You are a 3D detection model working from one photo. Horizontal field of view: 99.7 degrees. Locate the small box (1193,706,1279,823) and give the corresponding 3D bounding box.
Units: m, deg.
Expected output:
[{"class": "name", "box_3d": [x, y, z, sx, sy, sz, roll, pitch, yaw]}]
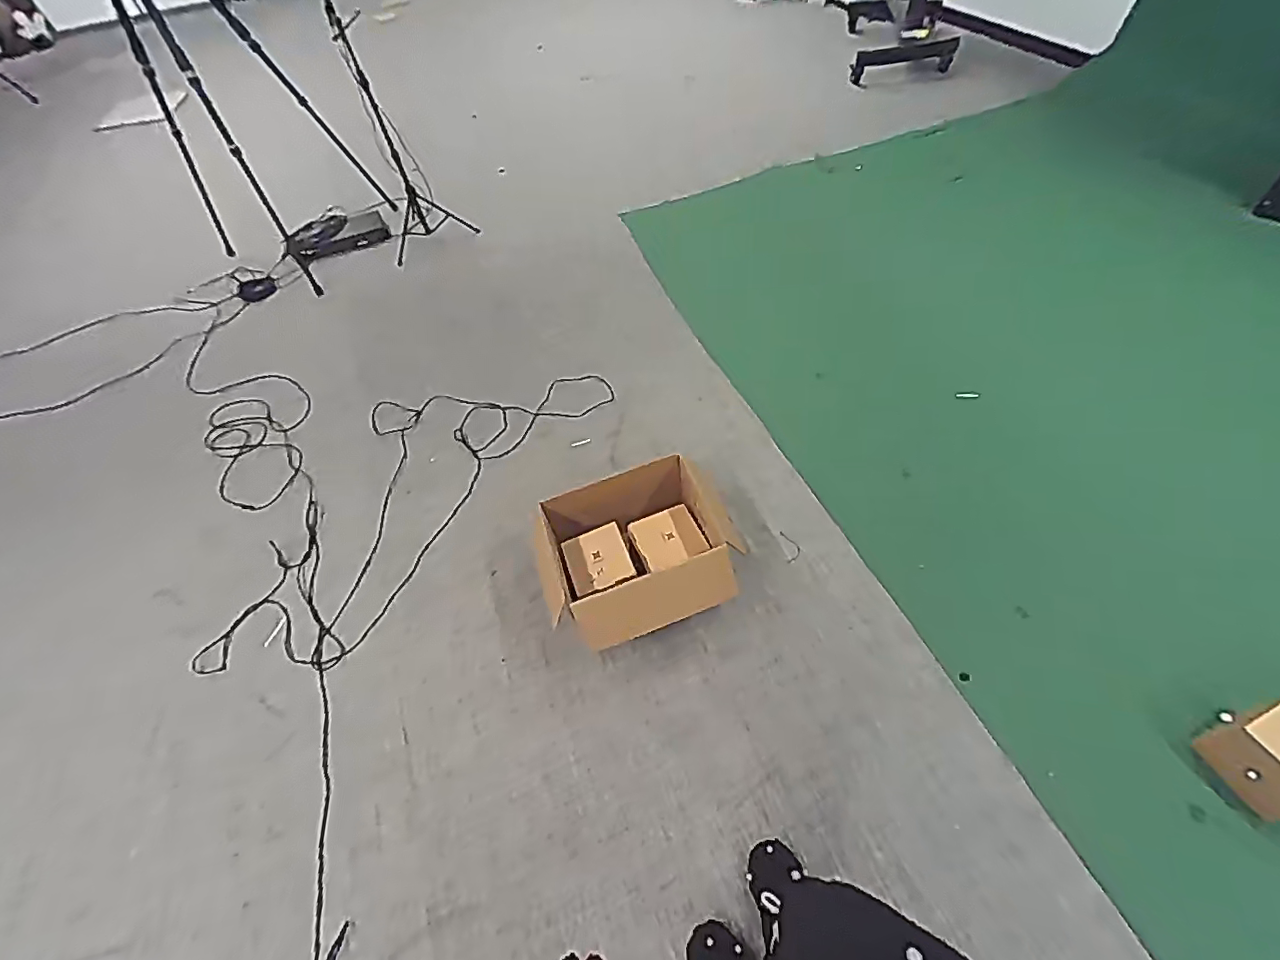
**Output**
[{"class": "small box", "box_3d": [1.345, 0.590, 1.123, 0.168, 0.176, 0.179, -23, 54, -10]}]
